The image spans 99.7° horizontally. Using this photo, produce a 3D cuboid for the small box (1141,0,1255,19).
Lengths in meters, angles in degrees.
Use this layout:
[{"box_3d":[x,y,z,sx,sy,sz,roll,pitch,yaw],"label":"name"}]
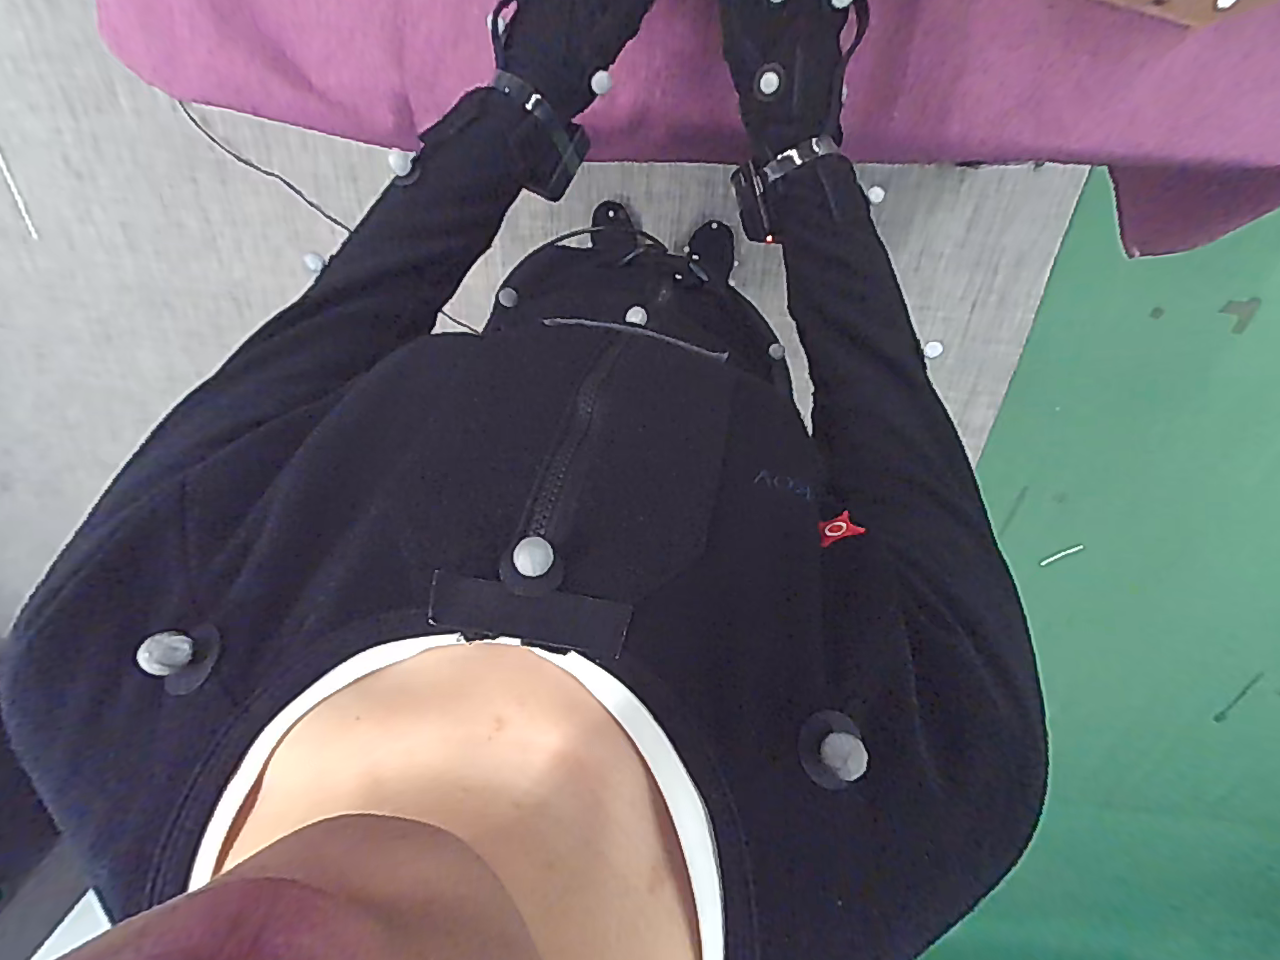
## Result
[{"box_3d":[0.441,-0.464,0.375,0.168,0.176,0.179,14,118,-3],"label":"small box"}]
